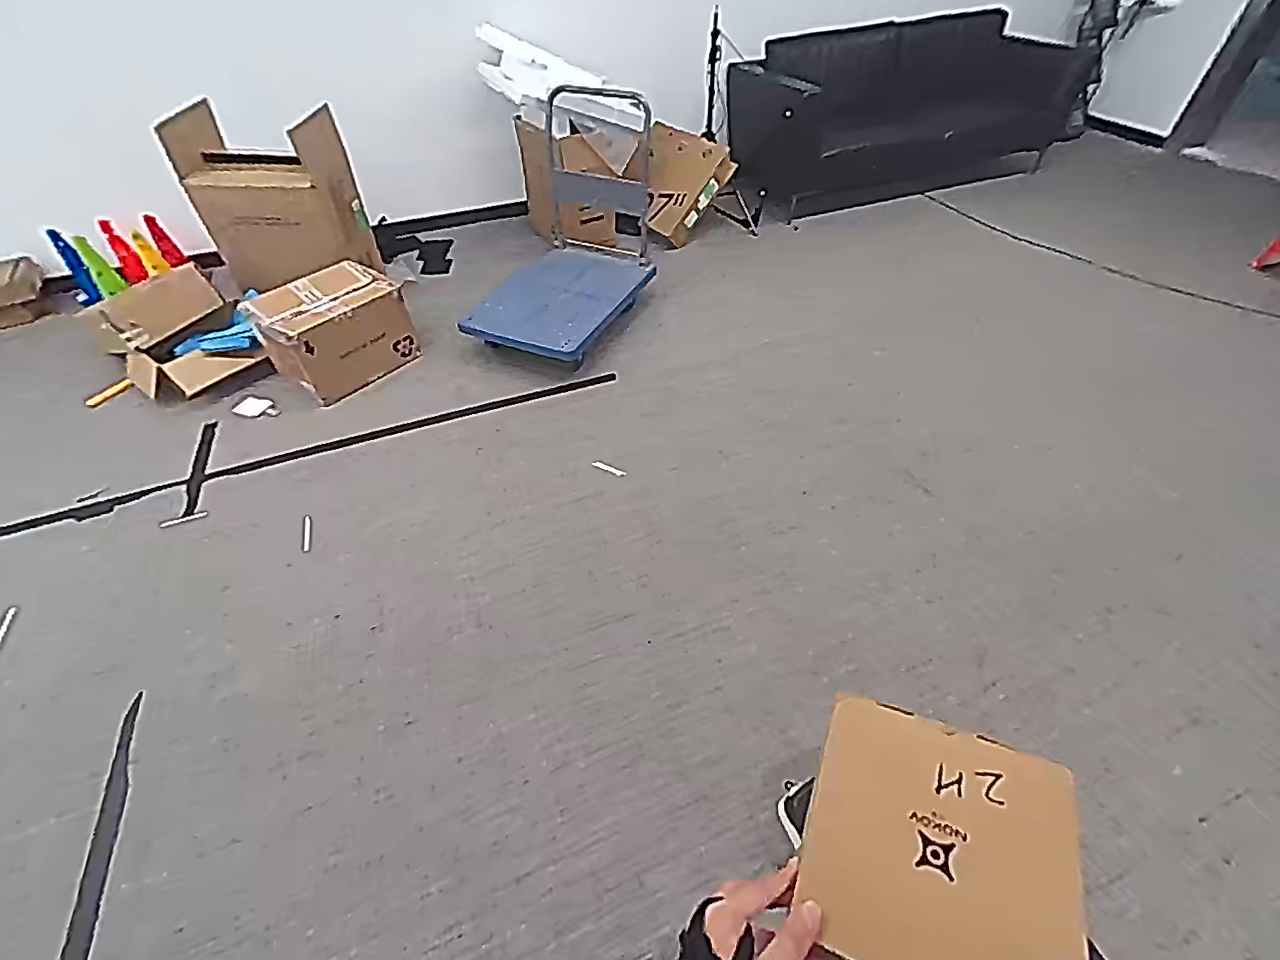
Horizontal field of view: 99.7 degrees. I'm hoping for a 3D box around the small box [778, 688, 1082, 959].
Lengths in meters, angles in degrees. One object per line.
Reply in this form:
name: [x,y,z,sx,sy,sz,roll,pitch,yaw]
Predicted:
small box: [0.209,0.305,0.420,0.168,0.176,0.179,13,46,23]
